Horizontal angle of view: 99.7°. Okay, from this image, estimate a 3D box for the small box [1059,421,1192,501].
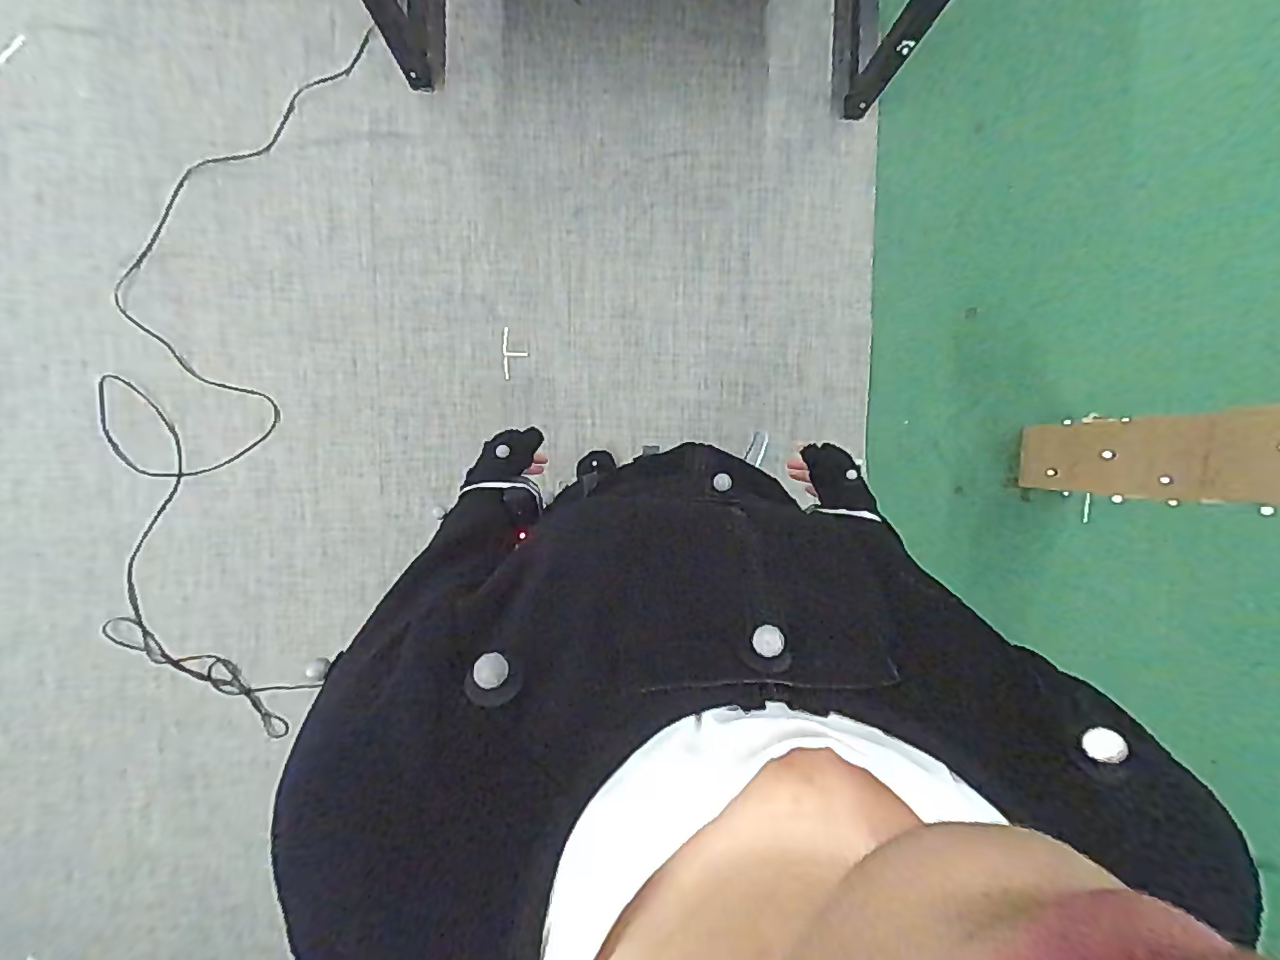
[{"bbox_3d":[1.153,-0.048,1.299,0.168,0.176,0.179,3,93,-3],"label":"small box"}]

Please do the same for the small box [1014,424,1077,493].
[{"bbox_3d":[1.152,-0.059,1.461,0.168,0.176,0.179,2,94,-4],"label":"small box"}]

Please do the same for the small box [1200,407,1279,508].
[{"bbox_3d":[1.173,-0.038,0.971,0.168,0.176,0.179,4,92,-3],"label":"small box"}]
